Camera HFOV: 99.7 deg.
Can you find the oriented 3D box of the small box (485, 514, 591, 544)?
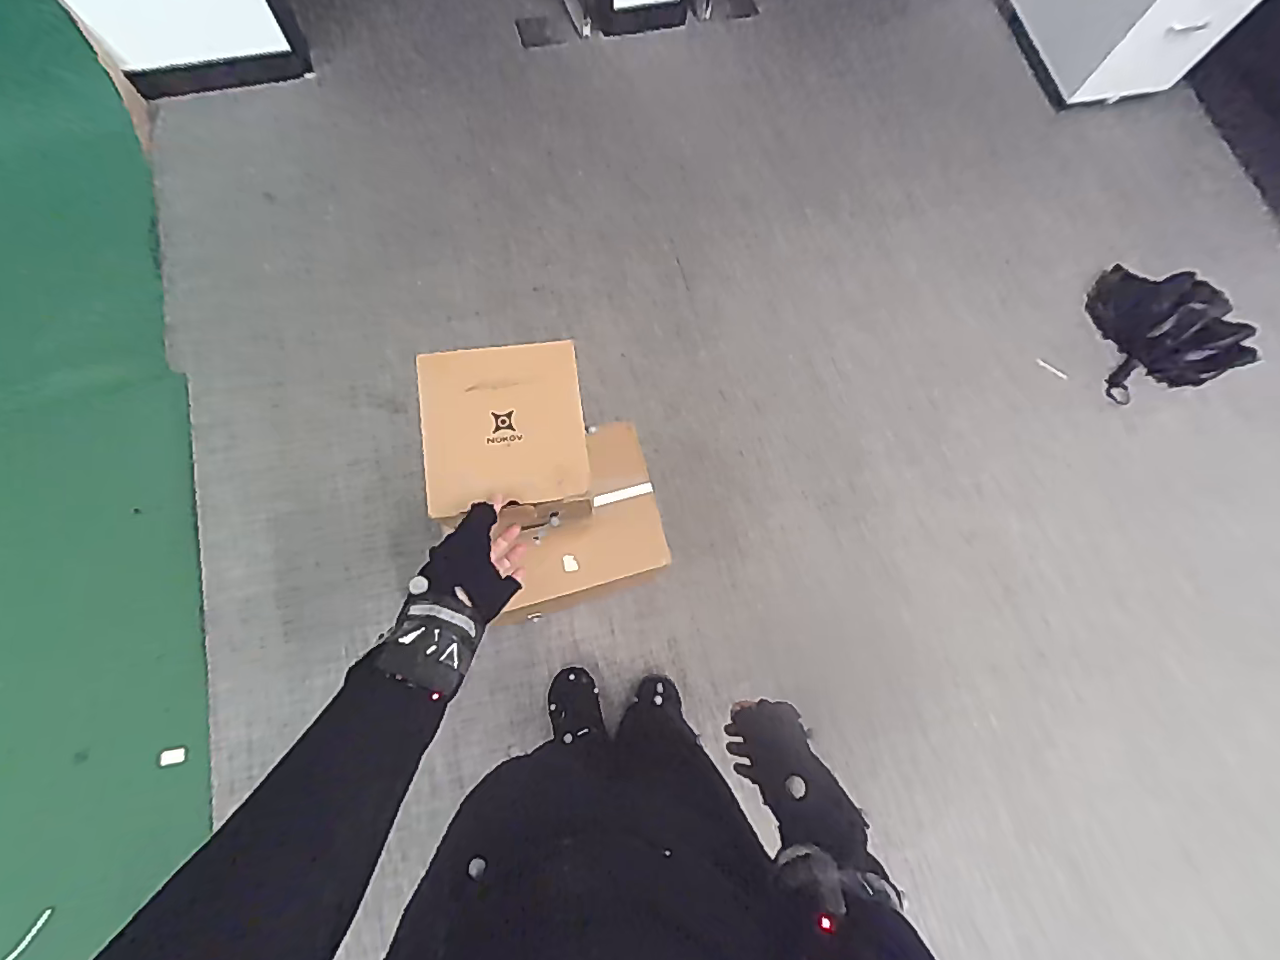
[{"bbox_3d":[-0.184,0.017,0.958,0.179,0.176,0.168,-7,78,-7],"label":"small box"}]

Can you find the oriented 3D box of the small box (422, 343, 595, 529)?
[{"bbox_3d":[-0.145,-0.040,0.642,0.168,0.176,0.179,-8,79,-8],"label":"small box"}]
